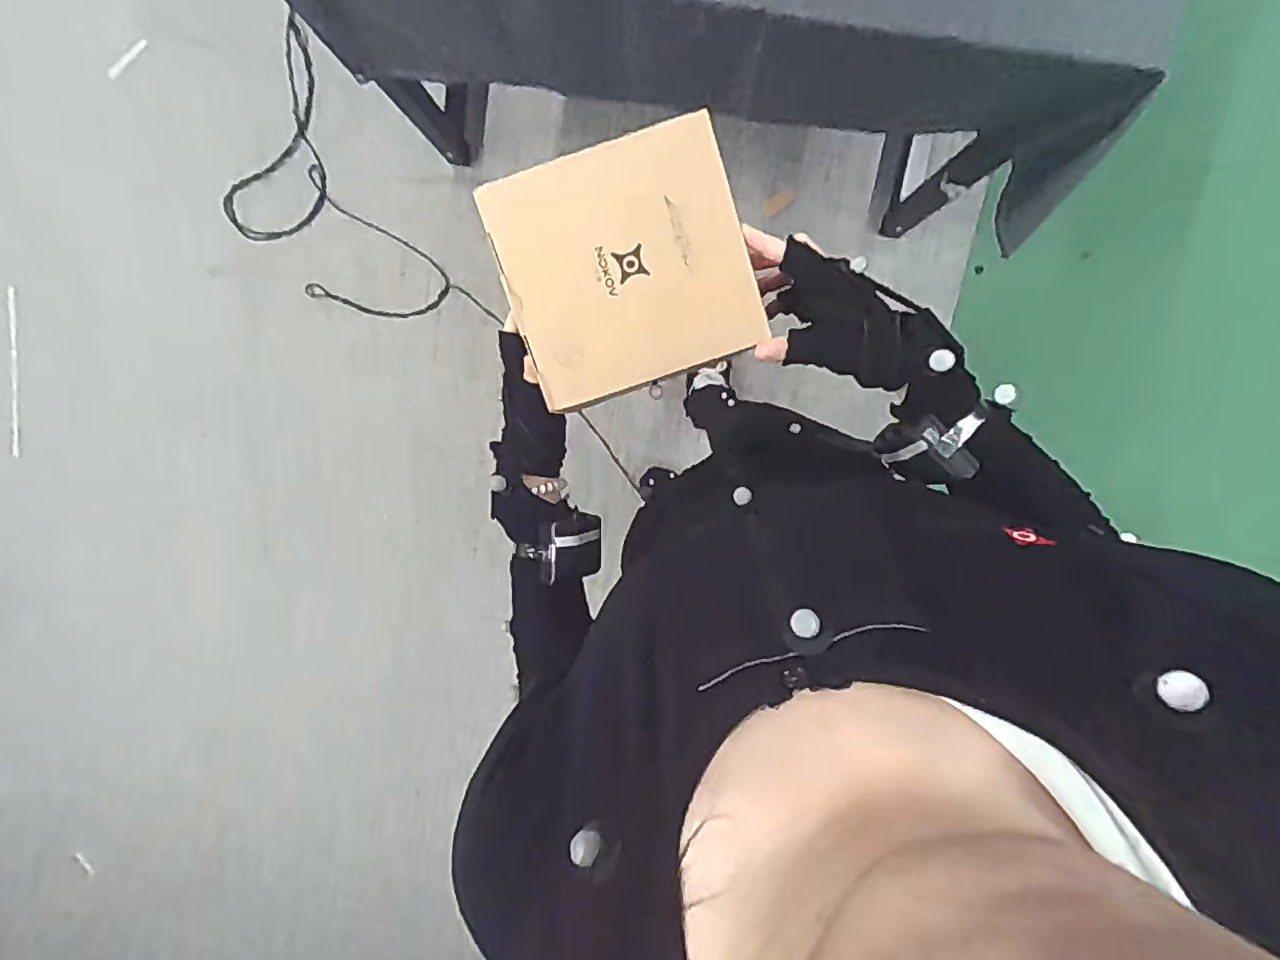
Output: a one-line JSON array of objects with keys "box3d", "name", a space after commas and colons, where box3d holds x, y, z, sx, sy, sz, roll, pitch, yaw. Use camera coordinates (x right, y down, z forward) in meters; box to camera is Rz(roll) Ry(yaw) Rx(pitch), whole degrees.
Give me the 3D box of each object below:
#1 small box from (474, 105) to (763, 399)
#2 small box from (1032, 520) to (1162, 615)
[{"box3d": [-0.014, -0.171, 0.468, 0.179, 0.176, 0.168, -18, 98, 1], "name": "small box"}, {"box3d": [1.157, 0.219, 1.388, 0.168, 0.176, 0.179, 14, 98, 0], "name": "small box"}]
